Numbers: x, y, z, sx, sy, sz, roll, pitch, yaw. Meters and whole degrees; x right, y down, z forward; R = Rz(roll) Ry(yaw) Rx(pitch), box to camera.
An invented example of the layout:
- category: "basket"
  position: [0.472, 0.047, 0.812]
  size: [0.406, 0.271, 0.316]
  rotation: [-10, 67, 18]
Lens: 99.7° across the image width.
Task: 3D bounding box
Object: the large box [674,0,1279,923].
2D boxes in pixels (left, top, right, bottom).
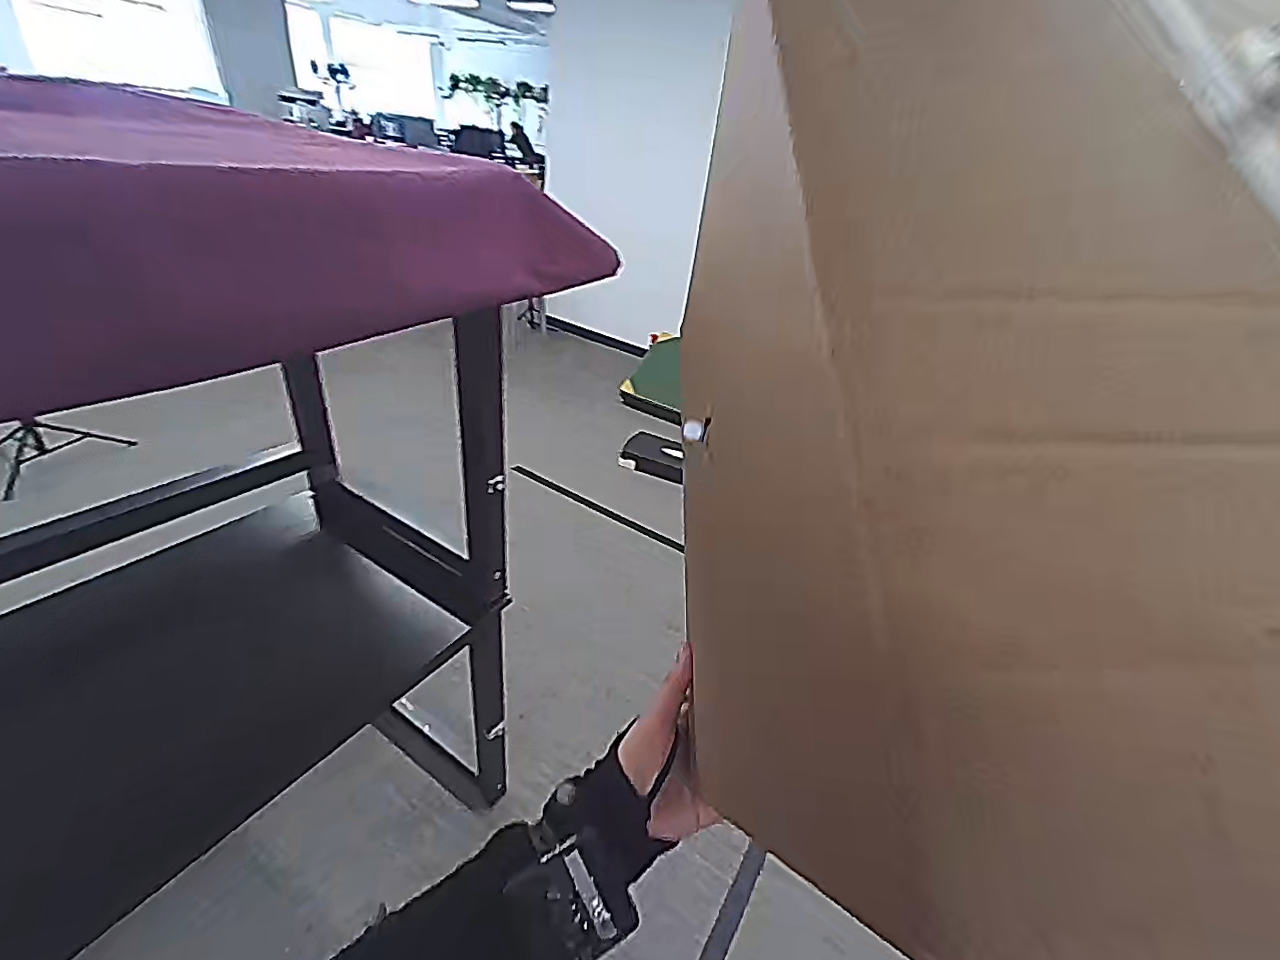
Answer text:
- category: "large box"
  position: [0.191, -0.040, 0.315]
  size: [0.320, 0.320, 0.408]
  rotation: [1, 65, -3]
